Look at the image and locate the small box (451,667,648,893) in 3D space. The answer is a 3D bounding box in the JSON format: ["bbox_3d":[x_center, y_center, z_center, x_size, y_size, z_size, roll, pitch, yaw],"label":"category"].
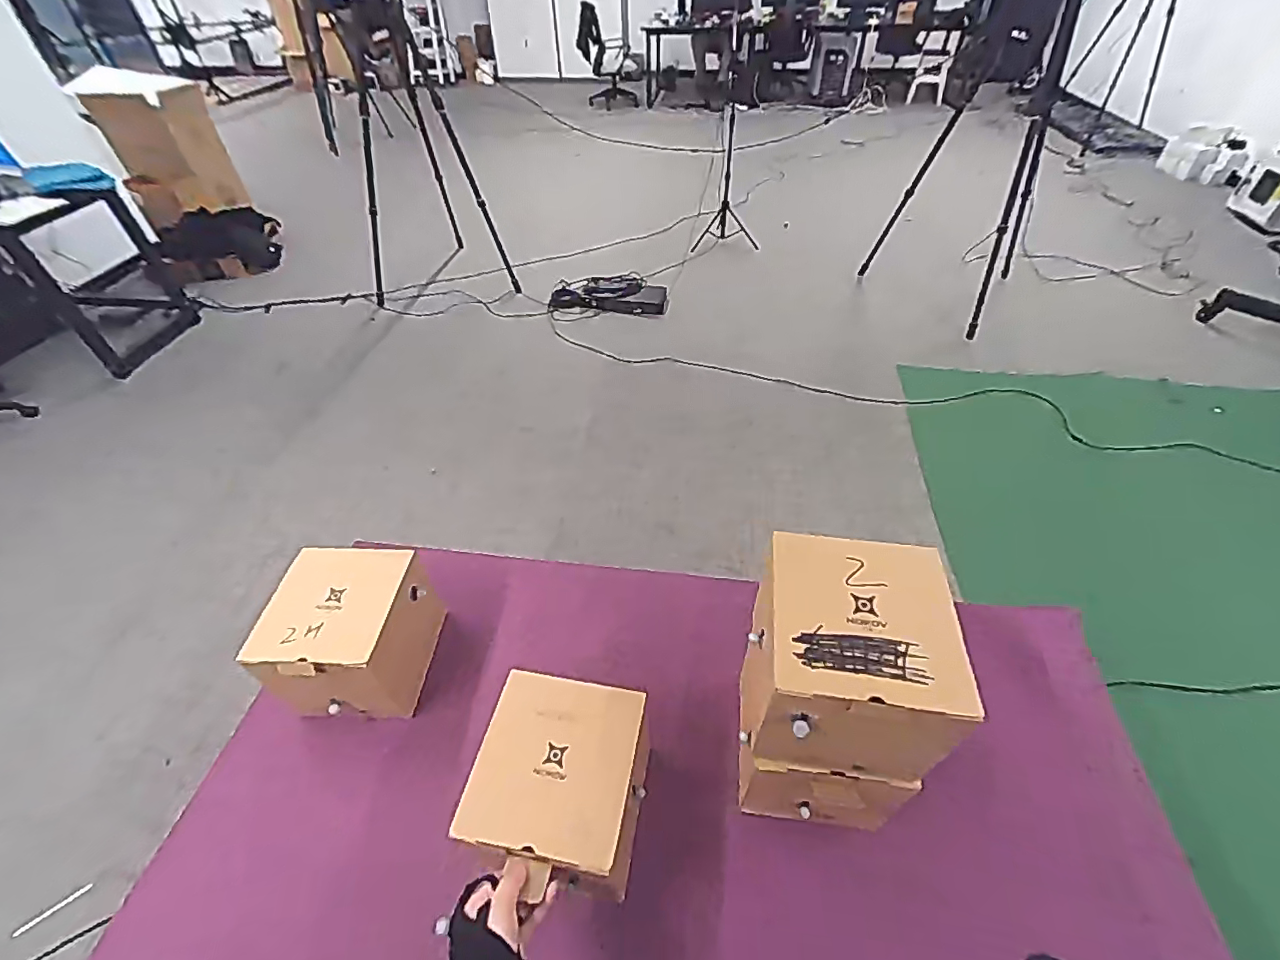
[{"bbox_3d":[-0.085,0.348,0.626,0.168,0.176,0.179,7,45,10],"label":"small box"}]

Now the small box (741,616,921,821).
[{"bbox_3d":[0.216,0.293,0.668,0.168,0.176,0.179,4,47,6],"label":"small box"}]

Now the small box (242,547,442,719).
[{"bbox_3d":[-0.399,0.216,0.767,0.168,0.176,0.179,1,46,3],"label":"small box"}]
